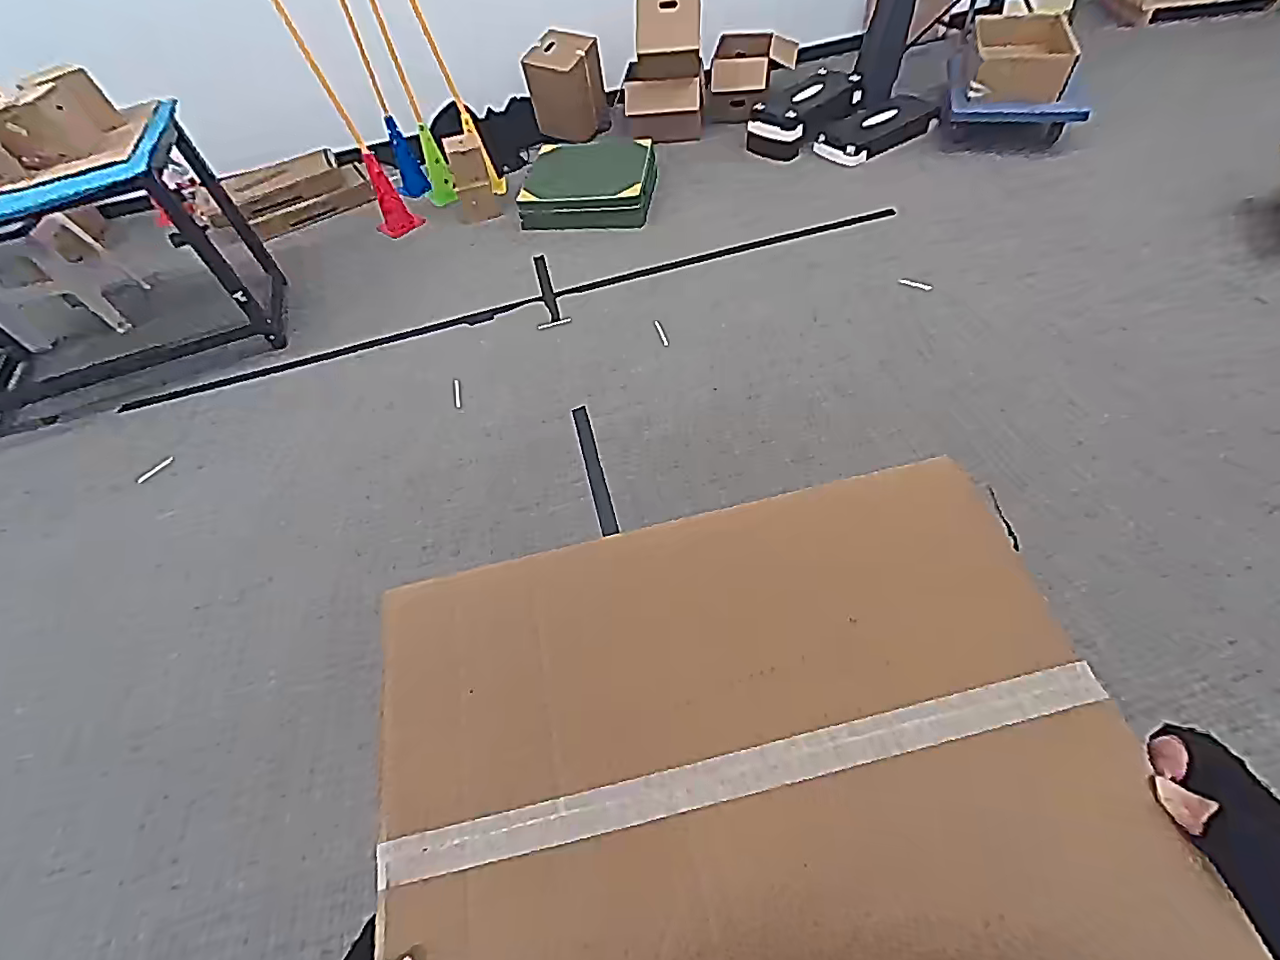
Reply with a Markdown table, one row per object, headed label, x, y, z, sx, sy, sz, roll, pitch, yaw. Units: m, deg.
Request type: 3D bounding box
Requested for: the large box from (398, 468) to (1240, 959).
| label | x | y | z | sx | sy | sz | roll | pitch | yaw |
| --- | --- | --- | --- | --- | --- | --- | --- | --- | --- |
| large box | 0.074 | 0.238 | 0.437 | 0.408 | 0.320 | 0.320 | -14 | 59 | -1 |
